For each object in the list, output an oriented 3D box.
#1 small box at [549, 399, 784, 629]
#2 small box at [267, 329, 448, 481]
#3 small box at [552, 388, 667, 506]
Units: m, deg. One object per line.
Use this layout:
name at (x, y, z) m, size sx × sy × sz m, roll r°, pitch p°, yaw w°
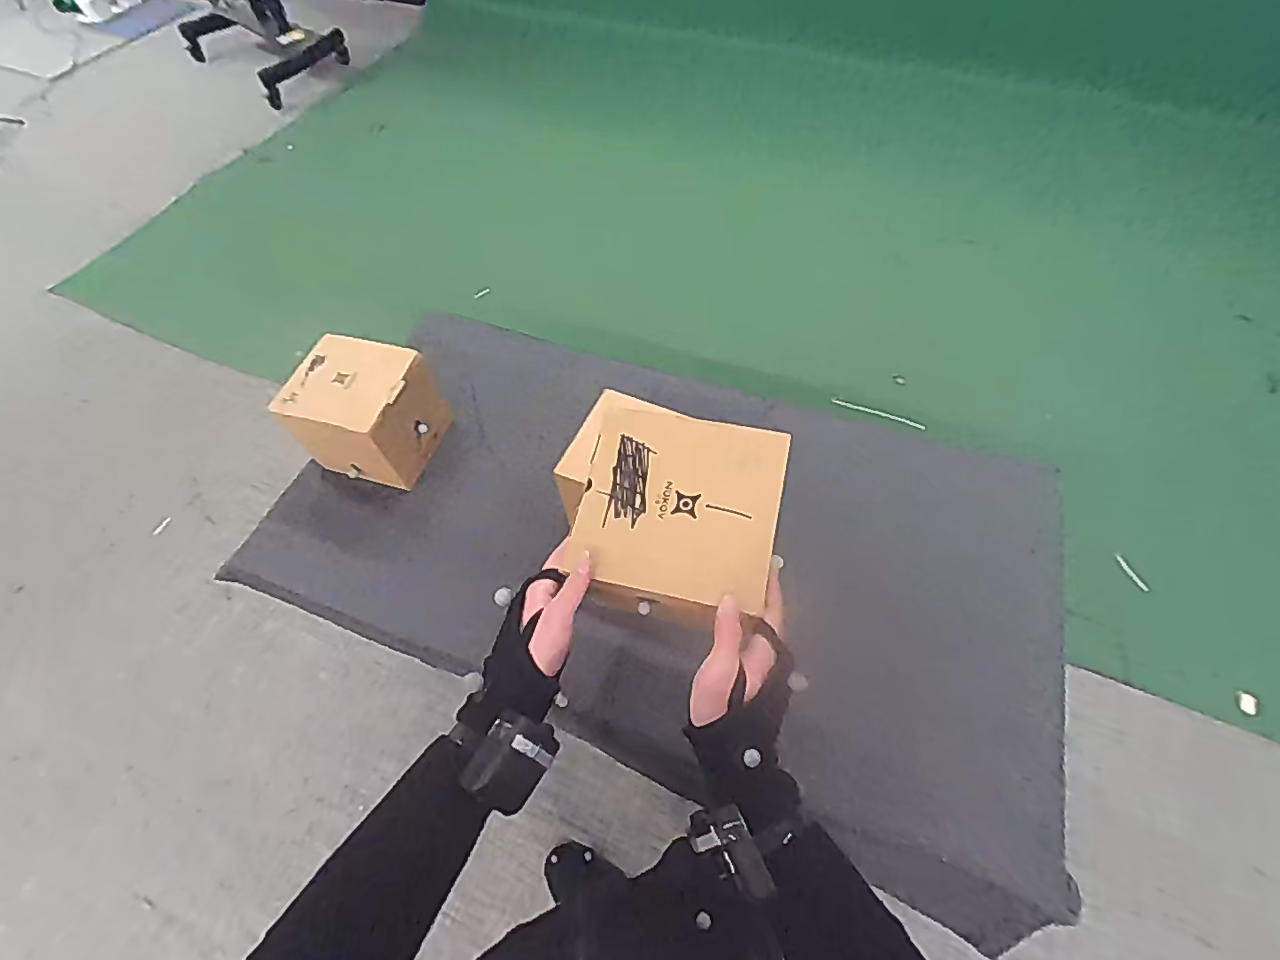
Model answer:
small box at (0.034, 0.042, 0.540) m, size 0.179 × 0.176 × 0.168 m, roll 11°, pitch 69°, yaw 11°
small box at (-0.448, -0.117, 0.894) m, size 0.179 × 0.176 × 0.168 m, roll 14°, pitch 60°, yaw 9°
small box at (-0.006, -0.004, 0.817) m, size 0.179 × 0.176 × 0.168 m, roll 20°, pitch 61°, yaw 15°
